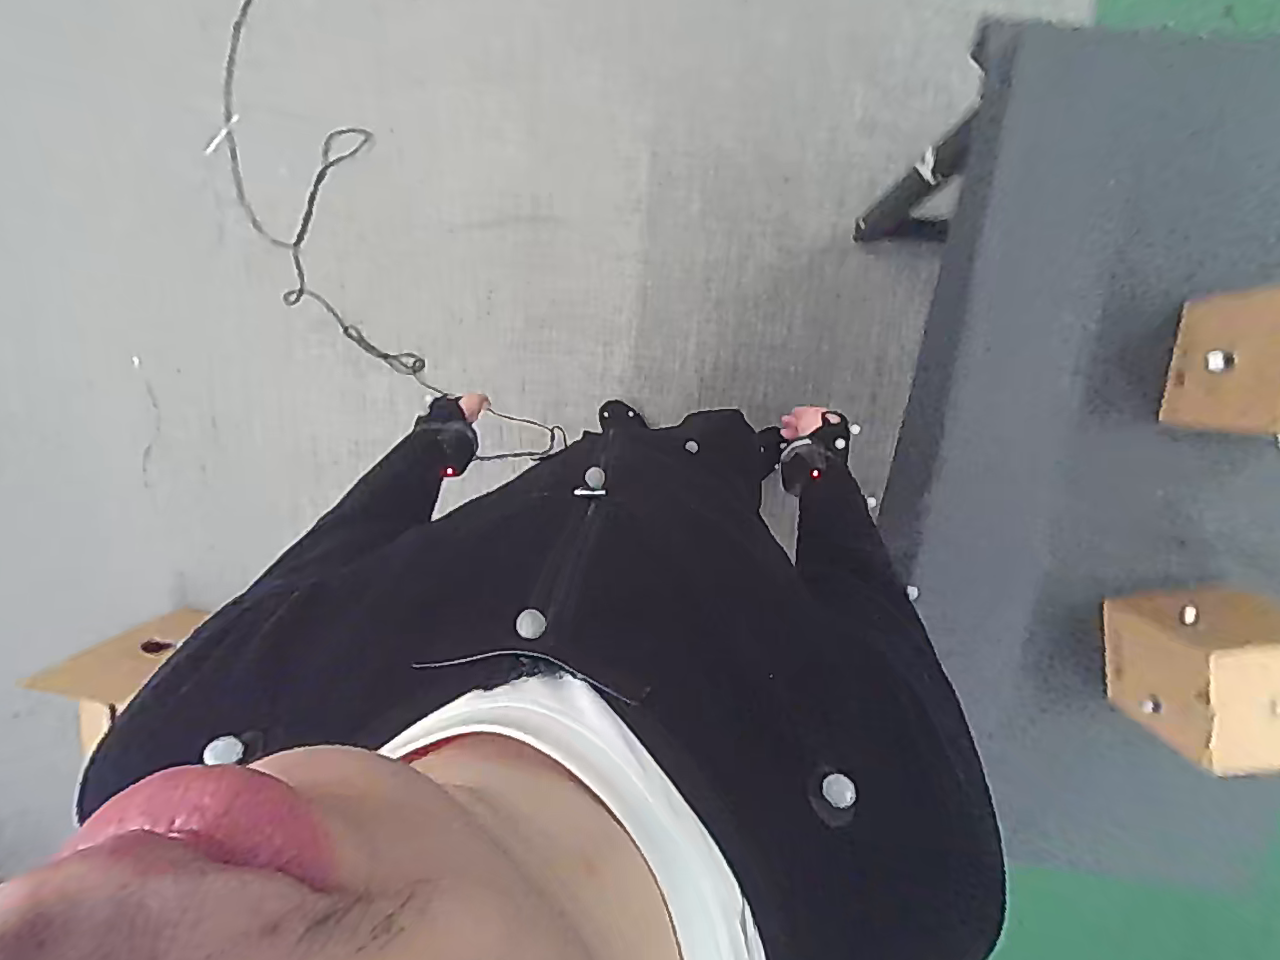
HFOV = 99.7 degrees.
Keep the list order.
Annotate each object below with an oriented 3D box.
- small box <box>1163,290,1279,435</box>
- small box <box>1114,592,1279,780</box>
[{"bbox_3d":[0.809,-0.138,0.663,0.179,0.176,0.168,1,99,4],"label":"small box"},{"bbox_3d":[0.780,0.262,0.715,0.179,0.176,0.168,-7,102,6],"label":"small box"}]
